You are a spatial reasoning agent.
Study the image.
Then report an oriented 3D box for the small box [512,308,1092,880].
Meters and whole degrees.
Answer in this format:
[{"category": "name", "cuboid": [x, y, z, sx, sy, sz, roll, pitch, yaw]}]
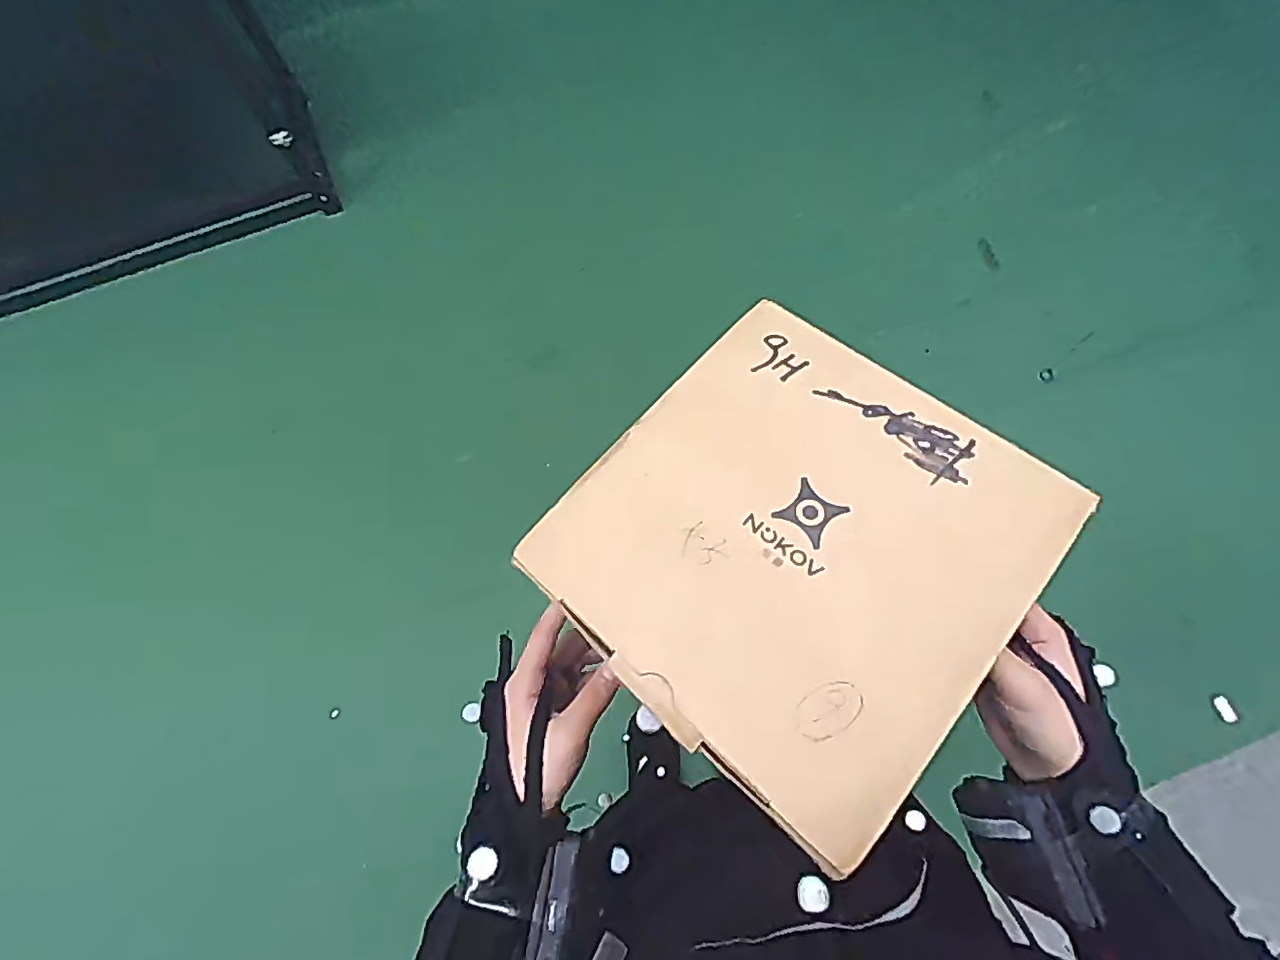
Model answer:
[{"category": "small box", "cuboid": [0.070, 0.054, 0.291, 0.168, 0.176, 0.179, 39, 76, 20]}]
